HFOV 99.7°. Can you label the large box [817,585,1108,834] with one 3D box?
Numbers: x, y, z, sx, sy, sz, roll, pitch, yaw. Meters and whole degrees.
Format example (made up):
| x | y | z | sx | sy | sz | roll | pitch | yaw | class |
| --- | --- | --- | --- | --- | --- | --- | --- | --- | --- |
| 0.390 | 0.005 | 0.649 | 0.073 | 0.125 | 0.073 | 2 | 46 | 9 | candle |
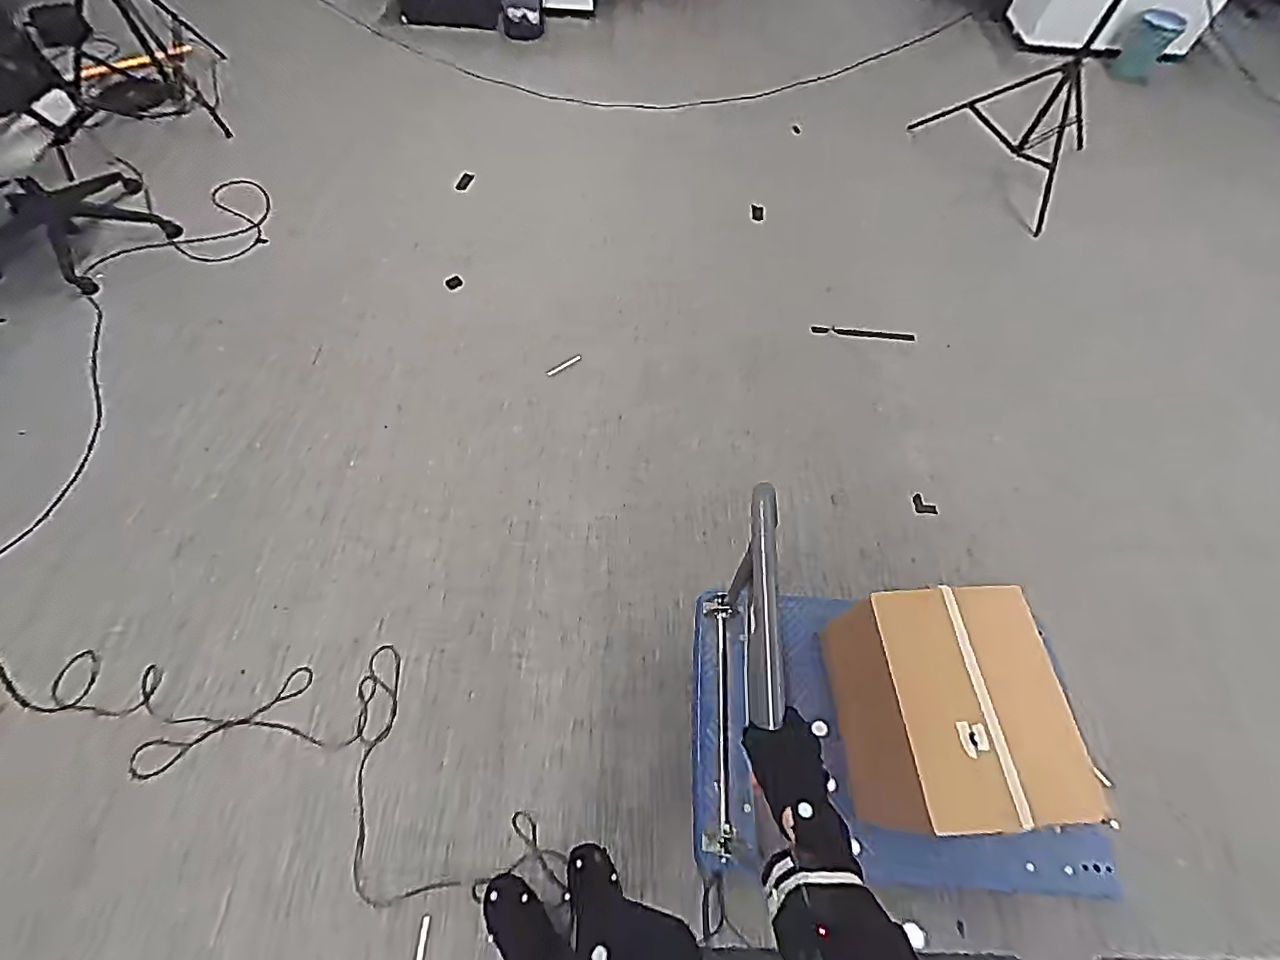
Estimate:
| x | y | z | sx | sy | sz | roll | pitch | yaw | class |
| --- | --- | --- | --- | --- | --- | --- | --- | --- | --- |
| 0.603 | 0.460 | 1.107 | 0.320 | 0.320 | 0.408 | -3 | 62 | -4 | large box |
